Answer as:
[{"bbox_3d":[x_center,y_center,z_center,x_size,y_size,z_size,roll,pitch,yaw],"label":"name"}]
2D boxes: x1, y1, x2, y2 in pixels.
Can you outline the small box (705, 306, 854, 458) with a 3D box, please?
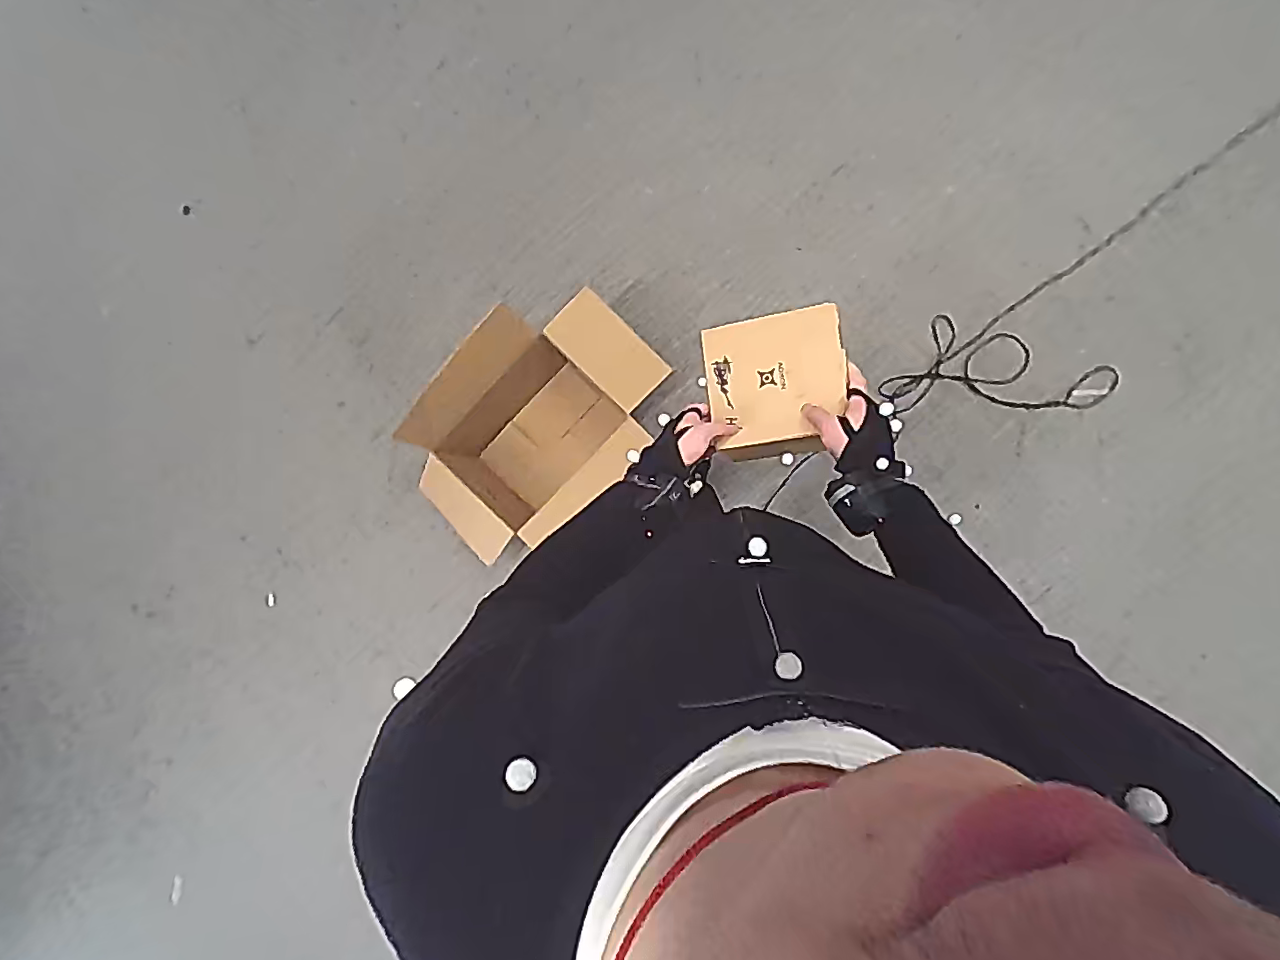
[{"bbox_3d":[0.199,-0.127,0.773,0.179,0.176,0.168,-6,84,17],"label":"small box"}]
